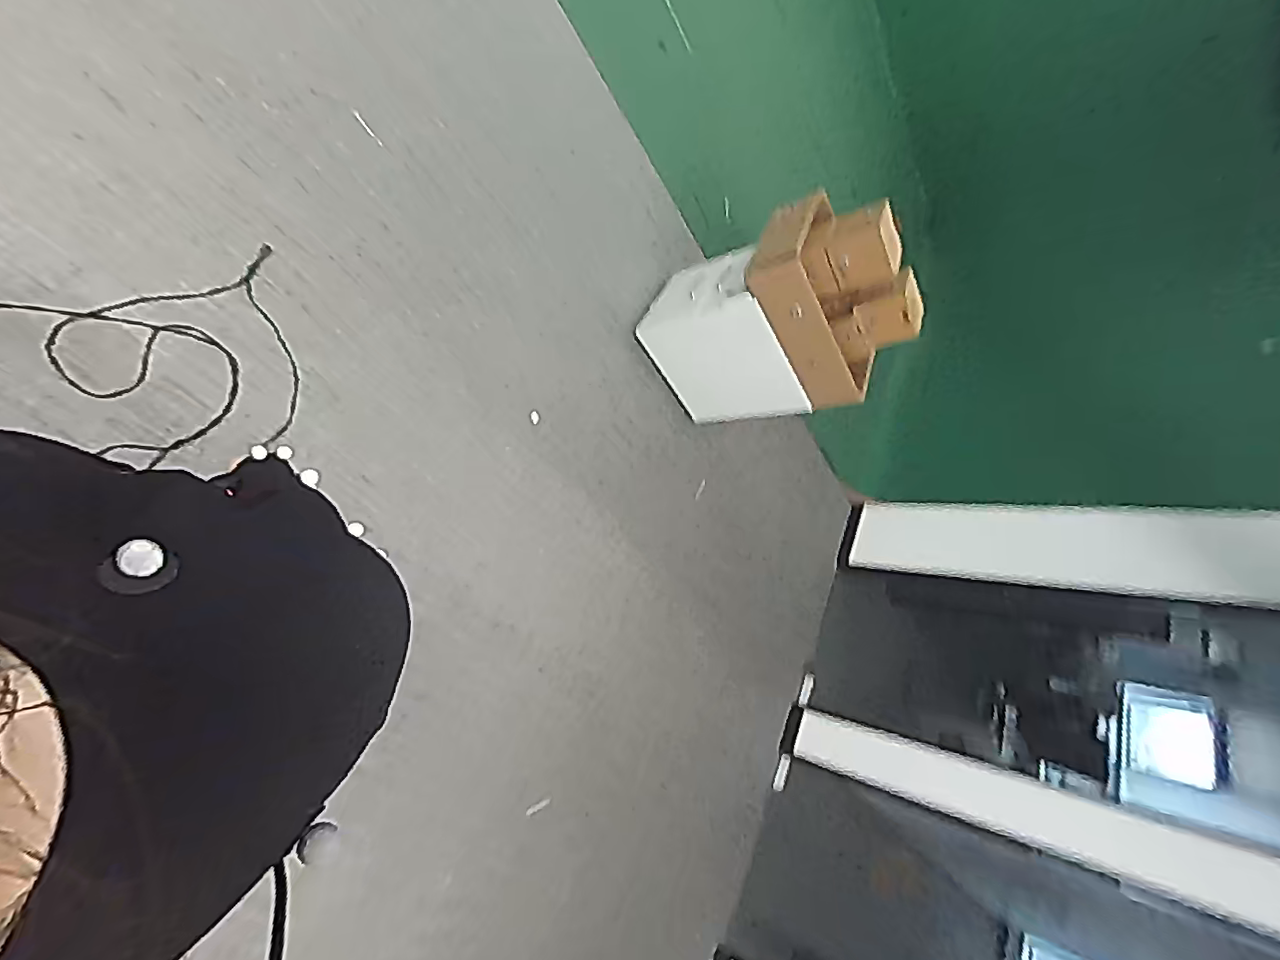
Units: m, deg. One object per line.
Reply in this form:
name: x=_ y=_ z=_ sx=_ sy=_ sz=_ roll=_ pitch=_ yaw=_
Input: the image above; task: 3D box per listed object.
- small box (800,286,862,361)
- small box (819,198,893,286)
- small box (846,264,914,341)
small box: x=0.696 y=-0.561 z=1.952 sx=0.168 sy=0.176 sz=0.179 roll=49 pitch=51 yaw=-31
small box: x=0.679 y=-0.744 z=1.702 sx=0.168 sy=0.176 sz=0.179 roll=51 pitch=51 yaw=-32
small box: x=0.825 y=-0.605 z=1.859 sx=0.168 sy=0.176 sz=0.179 roll=54 pitch=49 yaw=-30
